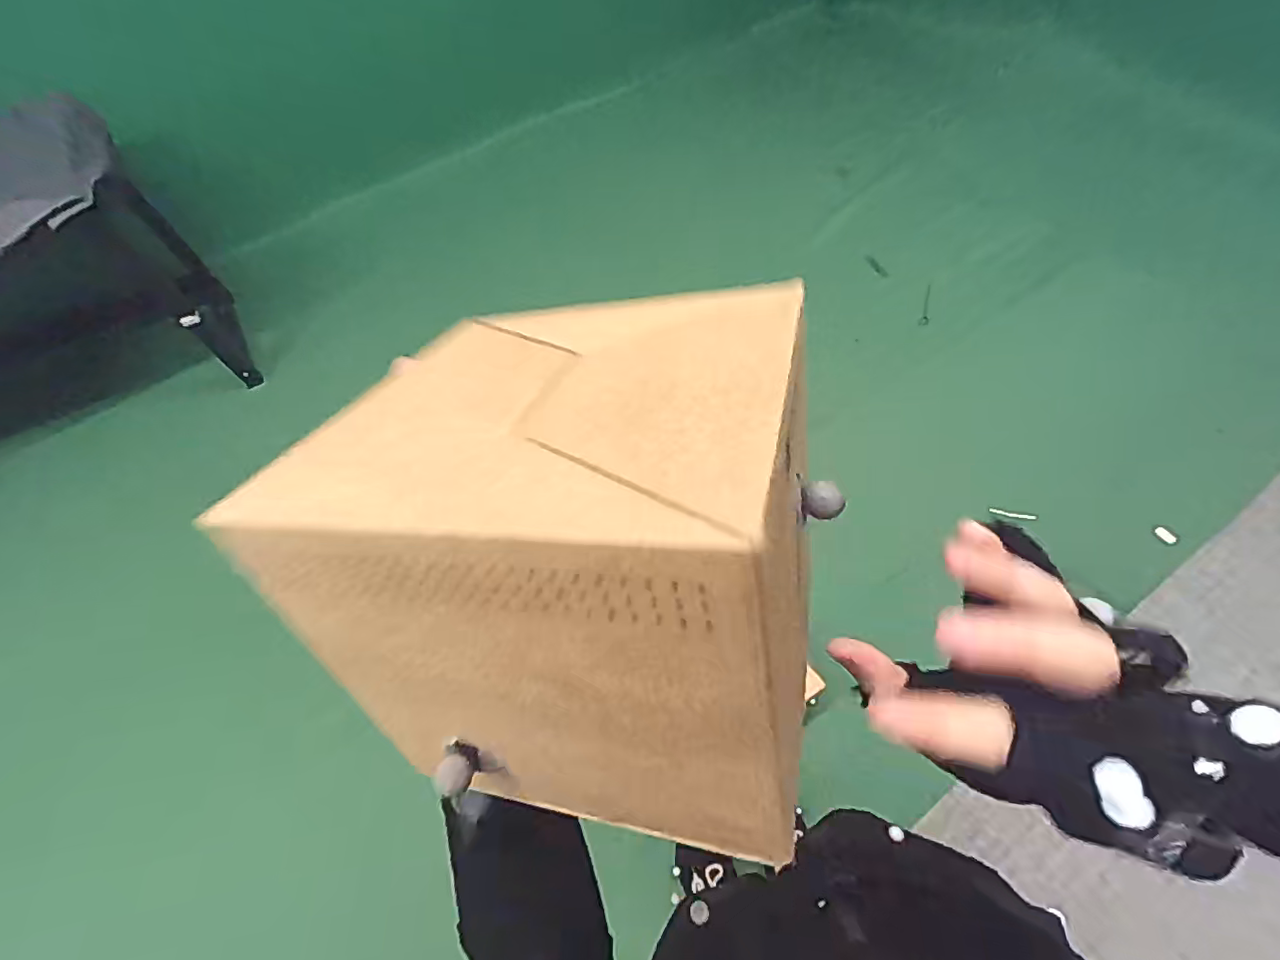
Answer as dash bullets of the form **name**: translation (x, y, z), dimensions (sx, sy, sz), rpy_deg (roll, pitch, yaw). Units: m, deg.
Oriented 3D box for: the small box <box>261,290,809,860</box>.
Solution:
- **small box**: translation (-0.018, 0.029, 0.241), dimensions (0.179, 0.176, 0.168), rpy_deg (0, 39, 19)
